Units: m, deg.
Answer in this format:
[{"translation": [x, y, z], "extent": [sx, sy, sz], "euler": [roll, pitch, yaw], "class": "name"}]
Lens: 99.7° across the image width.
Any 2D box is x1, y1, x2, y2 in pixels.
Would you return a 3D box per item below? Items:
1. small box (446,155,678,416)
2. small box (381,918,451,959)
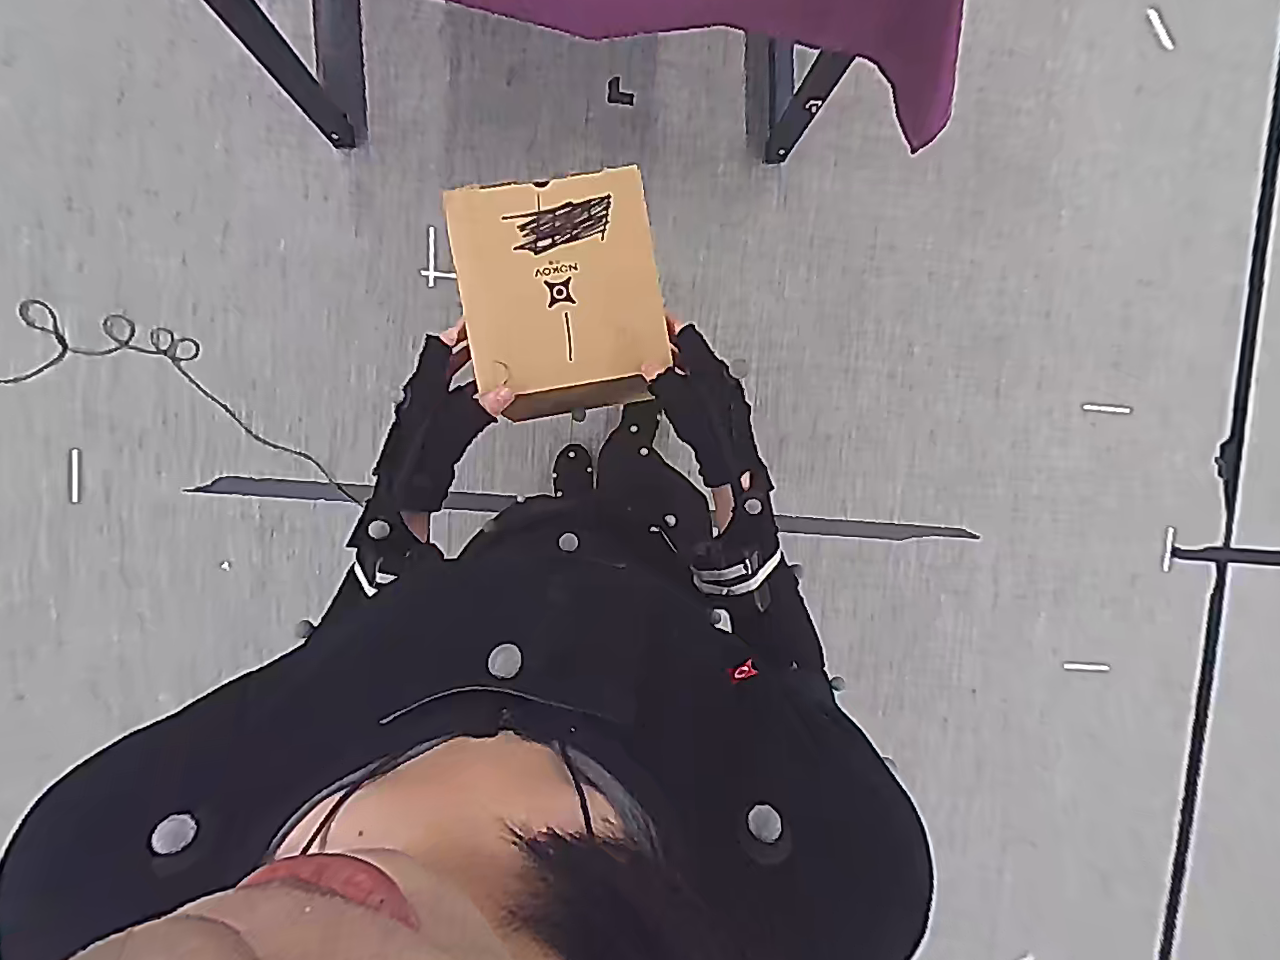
[{"translation": [-0.068, -0.168, 0.516], "extent": [0.168, 0.176, 0.179], "euler": [-10, 90, -4], "class": "small box"}, {"translation": [-0.633, 1.356, 1.478], "extent": [0.168, 0.176, 0.179], "euler": [18, 91, -5], "class": "small box"}]
